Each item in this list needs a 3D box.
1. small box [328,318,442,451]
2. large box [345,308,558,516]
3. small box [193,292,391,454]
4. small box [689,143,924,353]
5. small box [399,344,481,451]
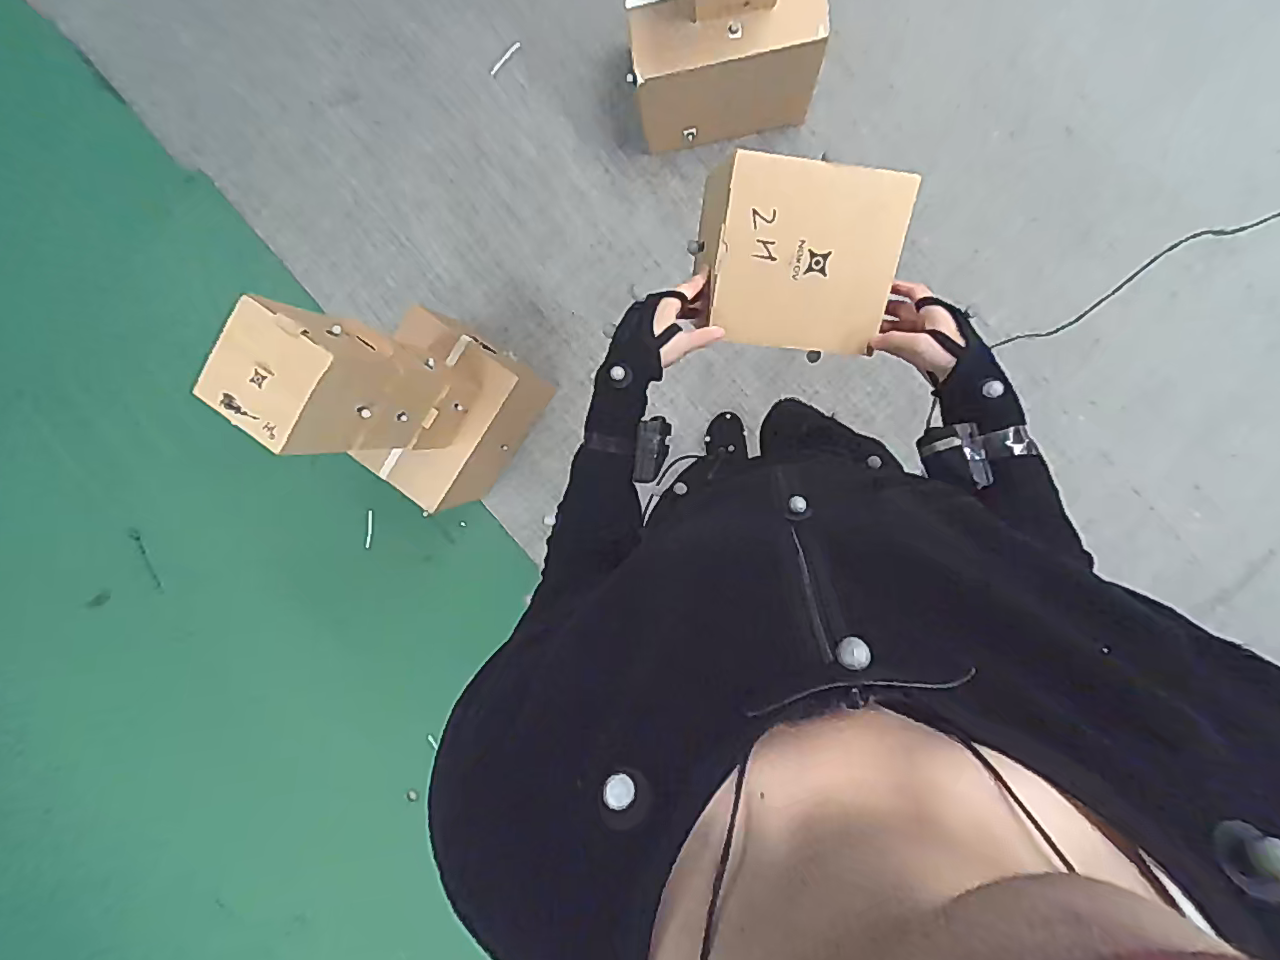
[{"bbox_3d":[-0.505,-0.172,1.017,0.168,0.176,0.179,35,99,4],"label":"small box"},{"bbox_3d":[-0.480,-0.174,1.426,0.320,0.320,0.408,36,100,5],"label":"large box"},{"bbox_3d":[-0.531,-0.158,0.855,0.168,0.176,0.179,36,97,4],"label":"small box"},{"bbox_3d":[0.157,-0.241,0.579,0.179,0.176,0.168,6,111,-4],"label":"small box"},{"bbox_3d":[-0.481,-0.180,1.179,0.179,0.176,0.168,36,98,4],"label":"small box"}]
